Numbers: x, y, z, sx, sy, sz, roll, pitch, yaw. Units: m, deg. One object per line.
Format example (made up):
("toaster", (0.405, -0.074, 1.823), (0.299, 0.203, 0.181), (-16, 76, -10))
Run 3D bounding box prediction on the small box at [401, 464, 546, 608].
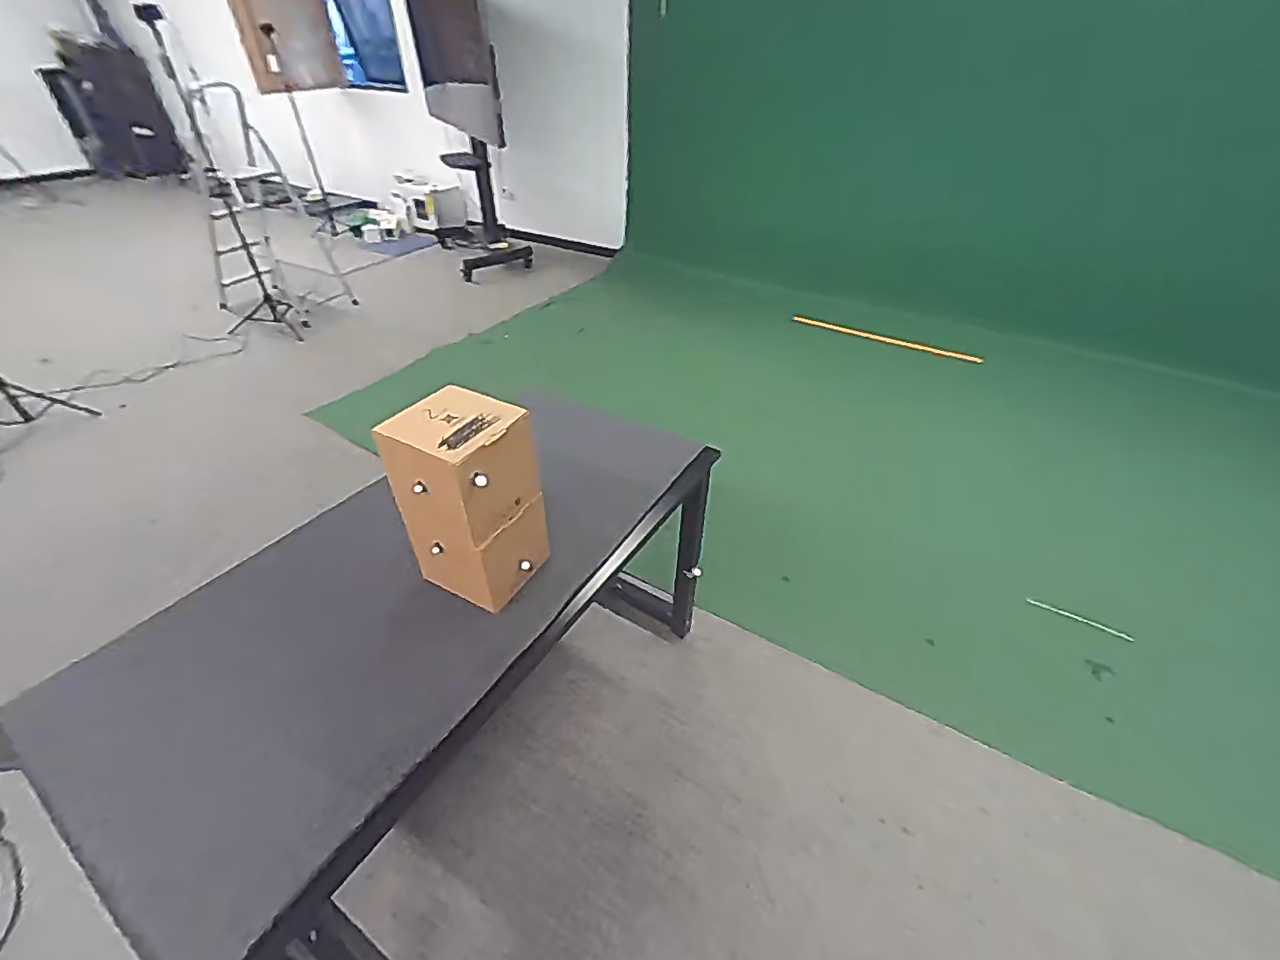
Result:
("small box", (-0.290, 0.101, 0.976), (0.179, 0.176, 0.168), (19, 42, 21))
